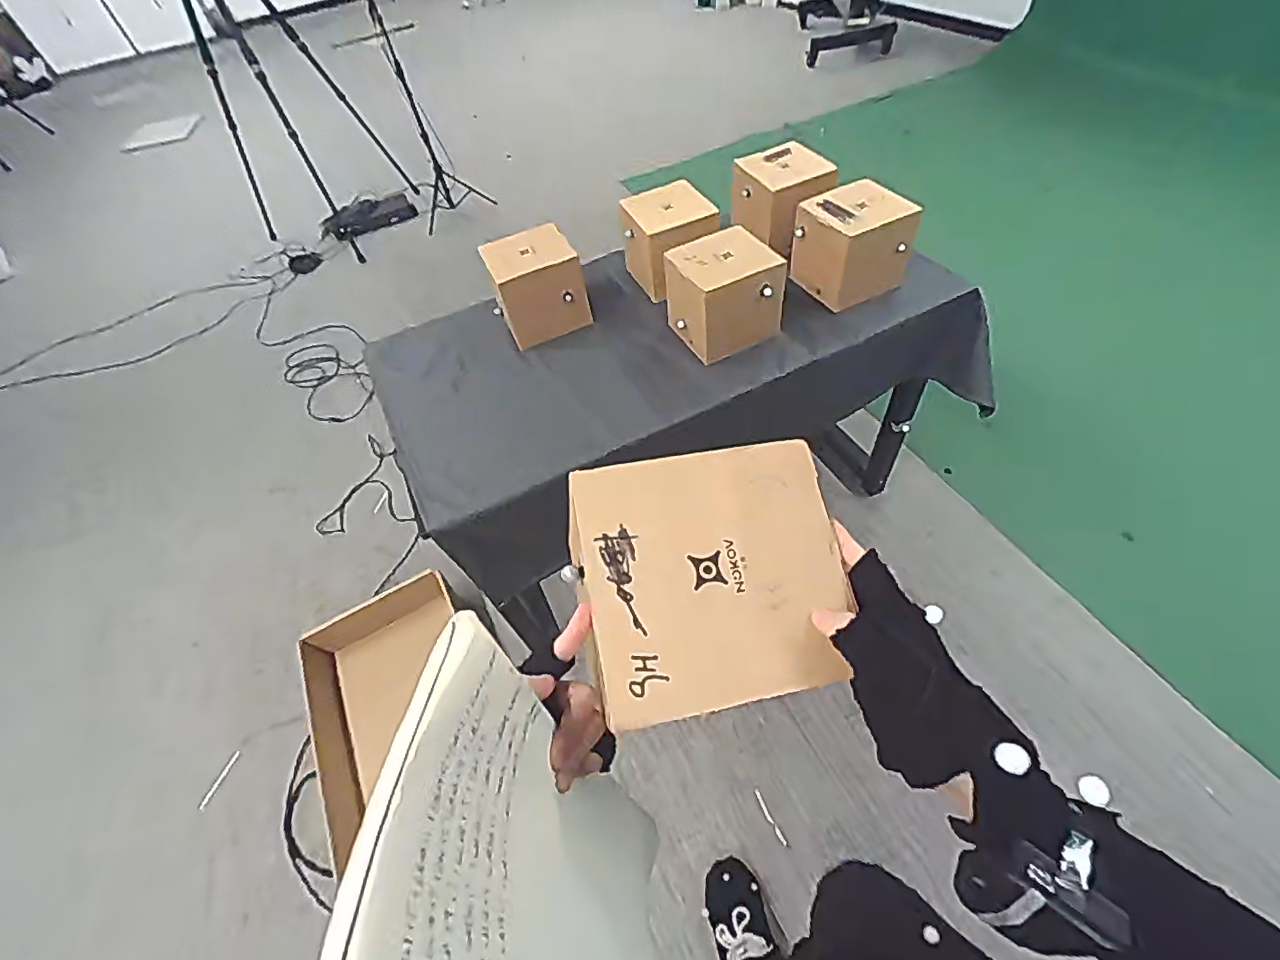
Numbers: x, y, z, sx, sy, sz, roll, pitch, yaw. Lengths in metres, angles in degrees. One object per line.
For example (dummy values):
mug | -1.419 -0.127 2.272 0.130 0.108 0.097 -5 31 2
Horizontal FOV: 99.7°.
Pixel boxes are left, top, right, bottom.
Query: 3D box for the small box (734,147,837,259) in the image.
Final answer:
small box | 0.332 -0.648 1.275 0.168 0.176 0.179 -23 54 -9

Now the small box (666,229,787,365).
small box | 0.168 -0.364 1.081 0.179 0.176 0.168 -24 52 -10

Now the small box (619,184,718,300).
small box | 0.070 -0.533 1.228 0.168 0.176 0.179 -22 53 -9

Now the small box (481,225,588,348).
small box | -0.222 -0.418 1.178 0.179 0.176 0.168 -22 53 -10
